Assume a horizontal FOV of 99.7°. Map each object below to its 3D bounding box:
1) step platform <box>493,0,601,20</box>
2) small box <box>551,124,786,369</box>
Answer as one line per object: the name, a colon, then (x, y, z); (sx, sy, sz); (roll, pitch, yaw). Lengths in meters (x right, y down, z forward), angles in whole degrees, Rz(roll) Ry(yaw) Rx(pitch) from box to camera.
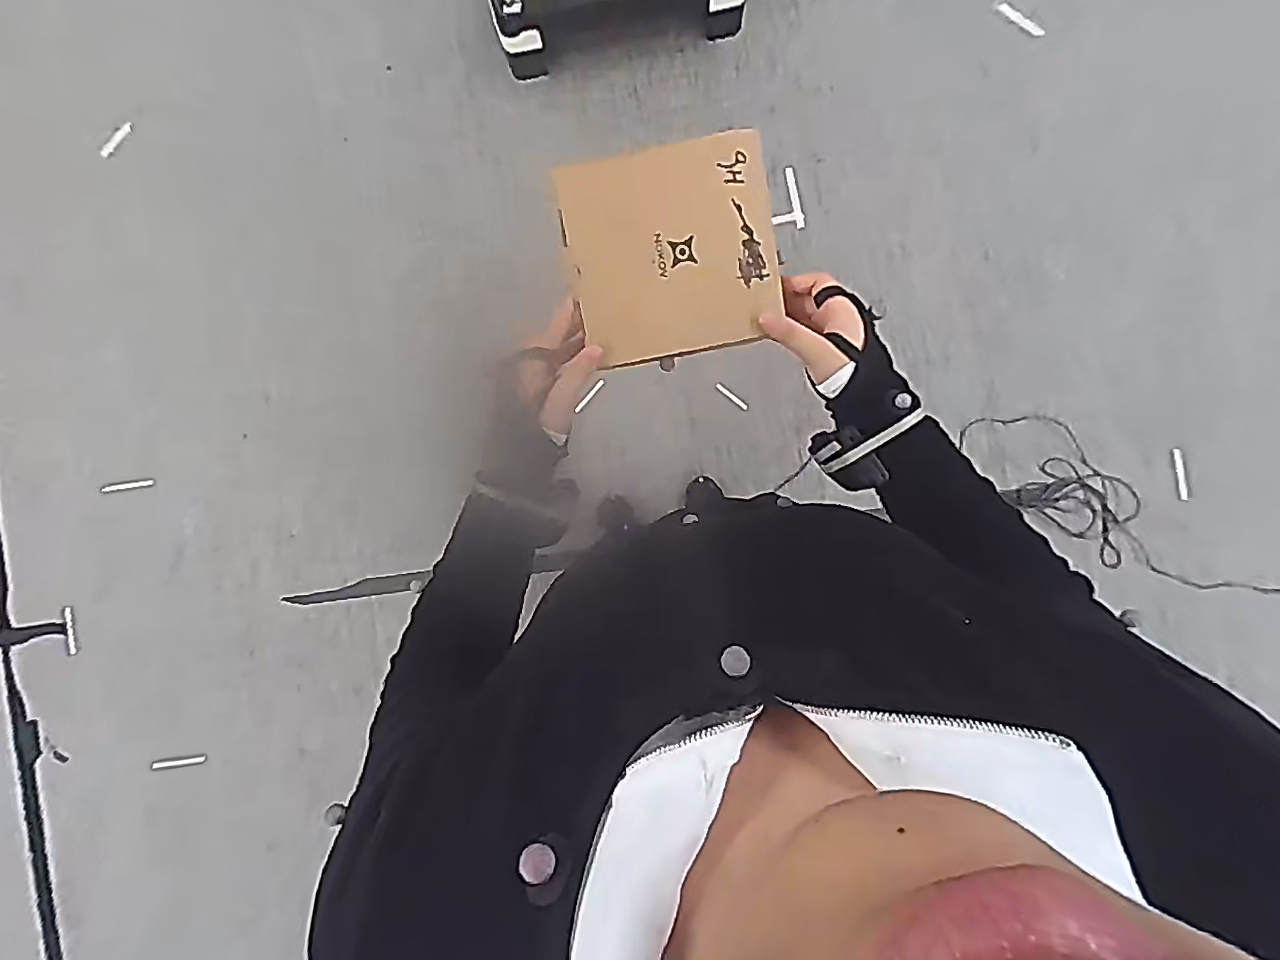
step platform: (-0.057, -1.315, 1.233); (0.684, 0.204, 0.286); (-11, 88, 1)
small box: (0.026, -0.206, 0.527); (0.179, 0.176, 0.168); (-10, 100, 1)
